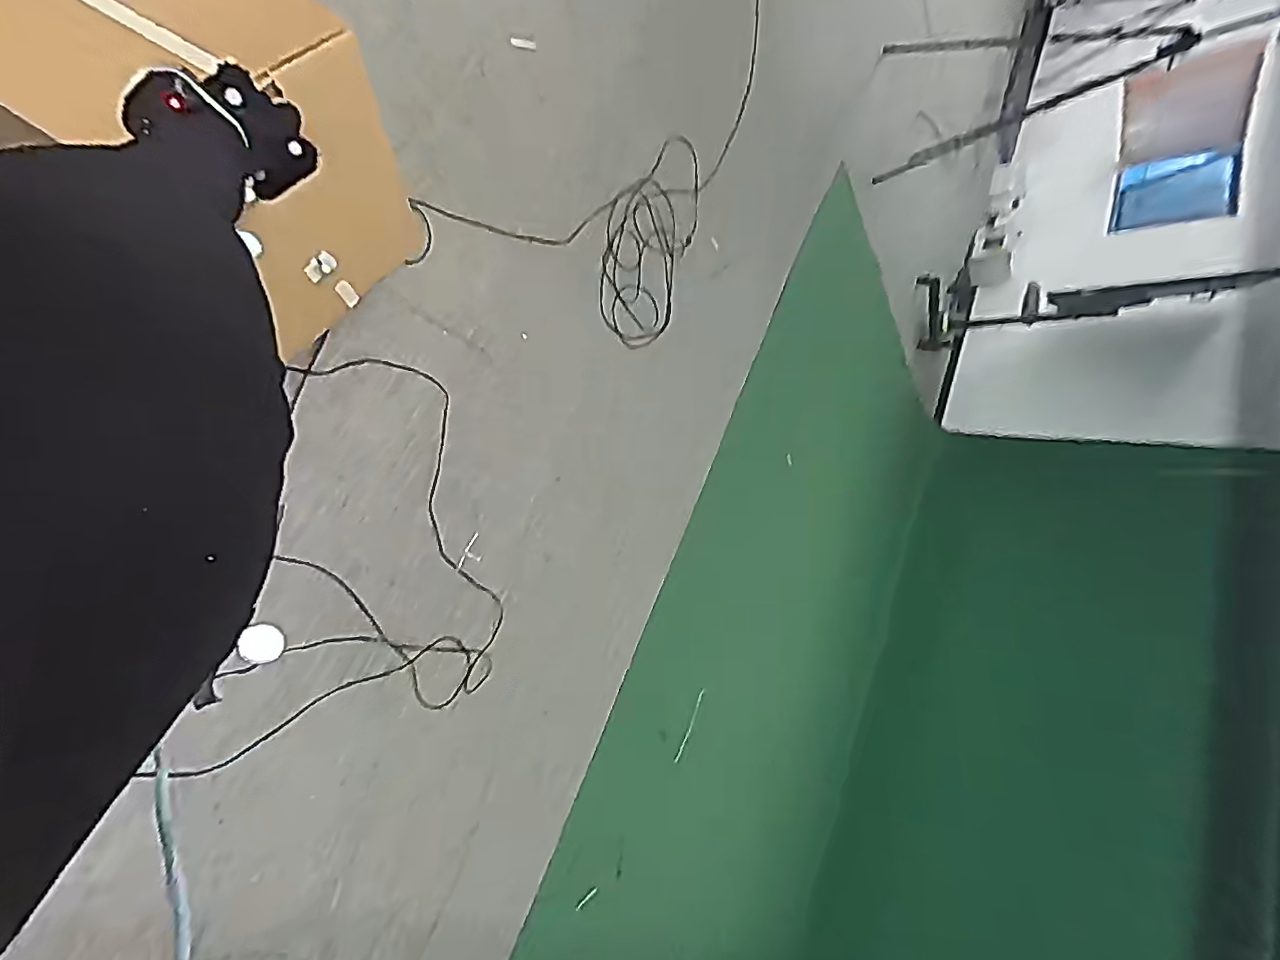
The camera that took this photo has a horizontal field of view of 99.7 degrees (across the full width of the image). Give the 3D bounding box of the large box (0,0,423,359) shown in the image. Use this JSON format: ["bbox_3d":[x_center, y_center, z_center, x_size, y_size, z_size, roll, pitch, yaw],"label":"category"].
[{"bbox_3d":[-0.591,-0.441,0.742,0.320,0.408,0.320,-55,170,-24],"label":"large box"}]
